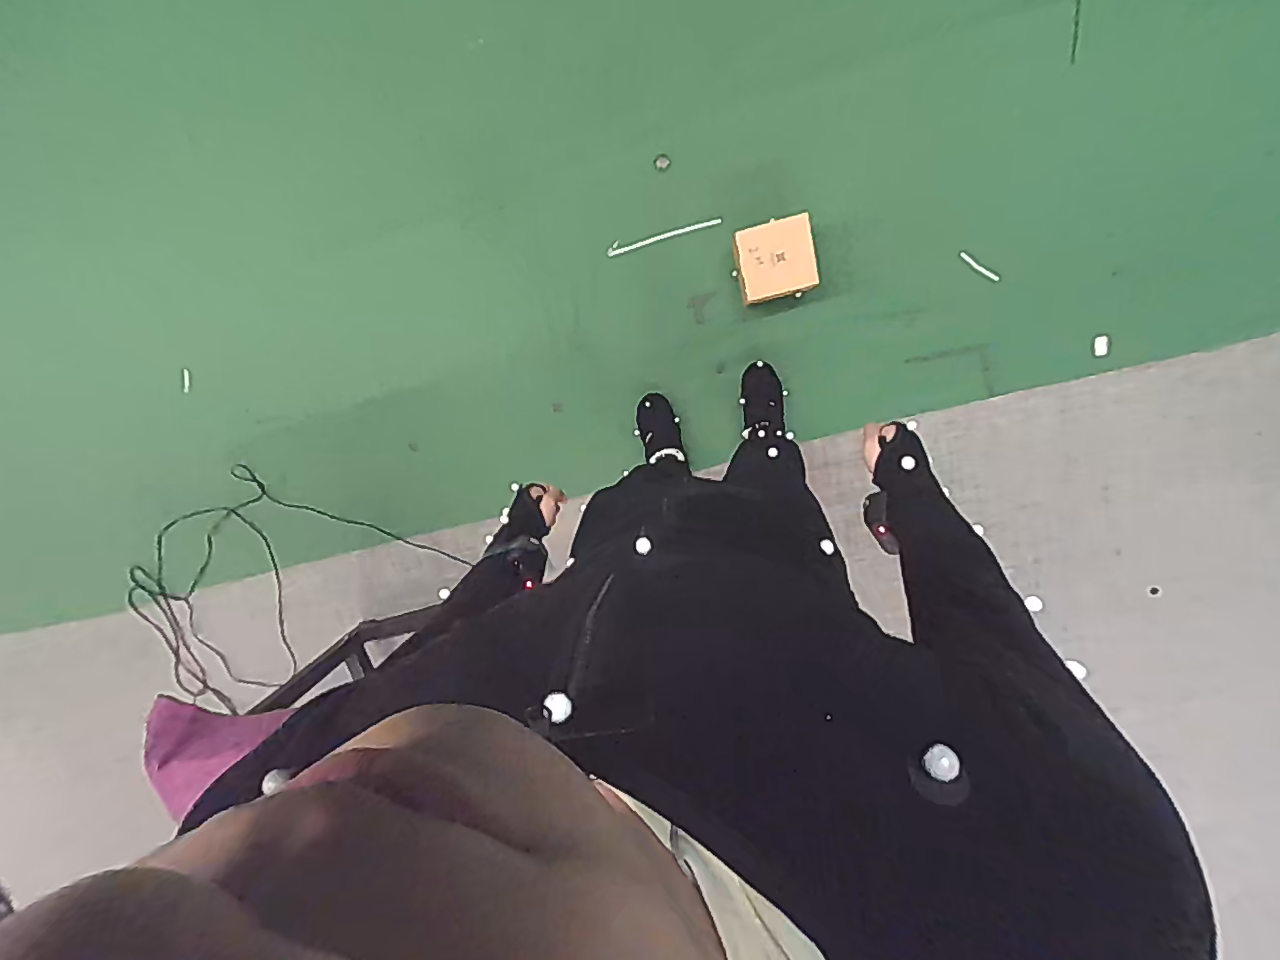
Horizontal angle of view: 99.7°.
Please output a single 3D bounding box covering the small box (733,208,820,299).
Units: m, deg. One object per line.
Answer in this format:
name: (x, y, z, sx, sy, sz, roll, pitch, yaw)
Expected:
small box: (0.339, -0.563, 1.363, 0.179, 0.176, 0.168, -11, 103, 10)
